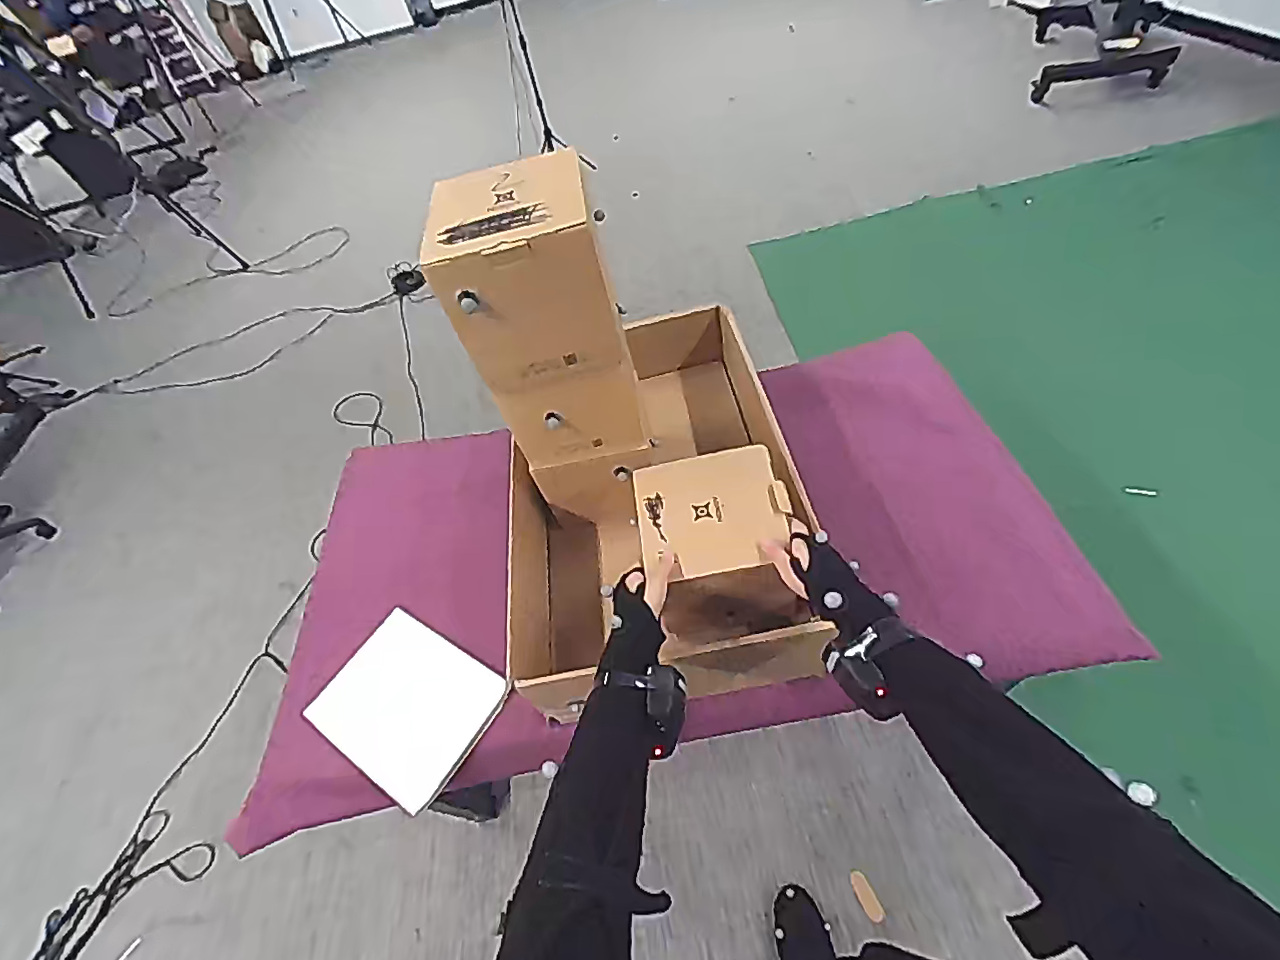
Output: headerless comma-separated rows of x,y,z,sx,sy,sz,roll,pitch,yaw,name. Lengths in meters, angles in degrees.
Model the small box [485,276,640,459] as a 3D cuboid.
-0.100,-0.146,0.750,0.168,0.176,0.179,-11,53,4,small box
